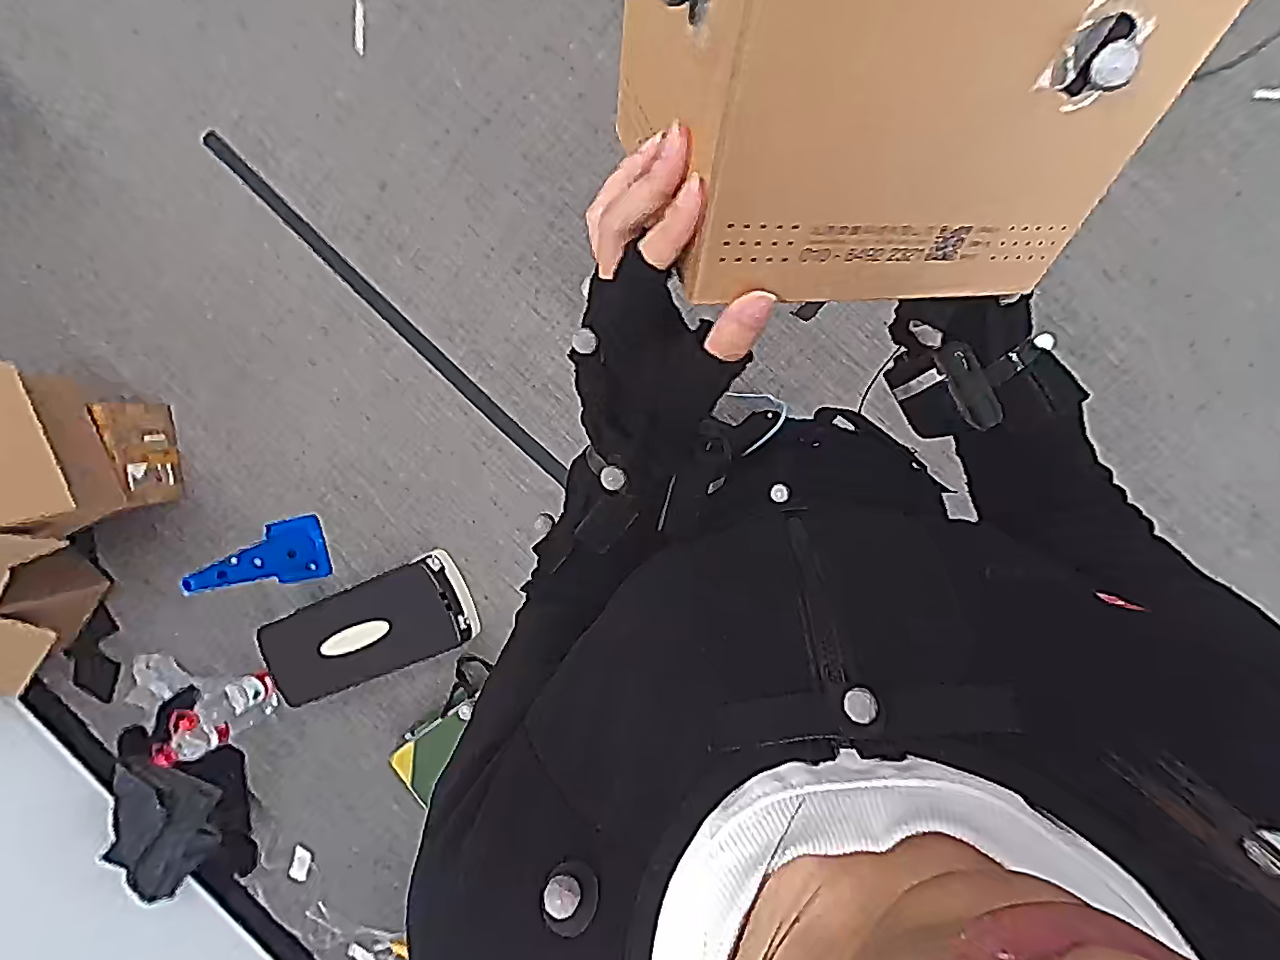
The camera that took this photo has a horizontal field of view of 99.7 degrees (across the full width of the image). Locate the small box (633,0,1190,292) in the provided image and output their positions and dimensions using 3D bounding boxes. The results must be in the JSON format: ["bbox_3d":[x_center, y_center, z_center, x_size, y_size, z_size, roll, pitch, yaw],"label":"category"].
[{"bbox_3d":[0.098,-0.200,0.239,0.168,0.176,0.179,-5,52,-13],"label":"small box"}]
